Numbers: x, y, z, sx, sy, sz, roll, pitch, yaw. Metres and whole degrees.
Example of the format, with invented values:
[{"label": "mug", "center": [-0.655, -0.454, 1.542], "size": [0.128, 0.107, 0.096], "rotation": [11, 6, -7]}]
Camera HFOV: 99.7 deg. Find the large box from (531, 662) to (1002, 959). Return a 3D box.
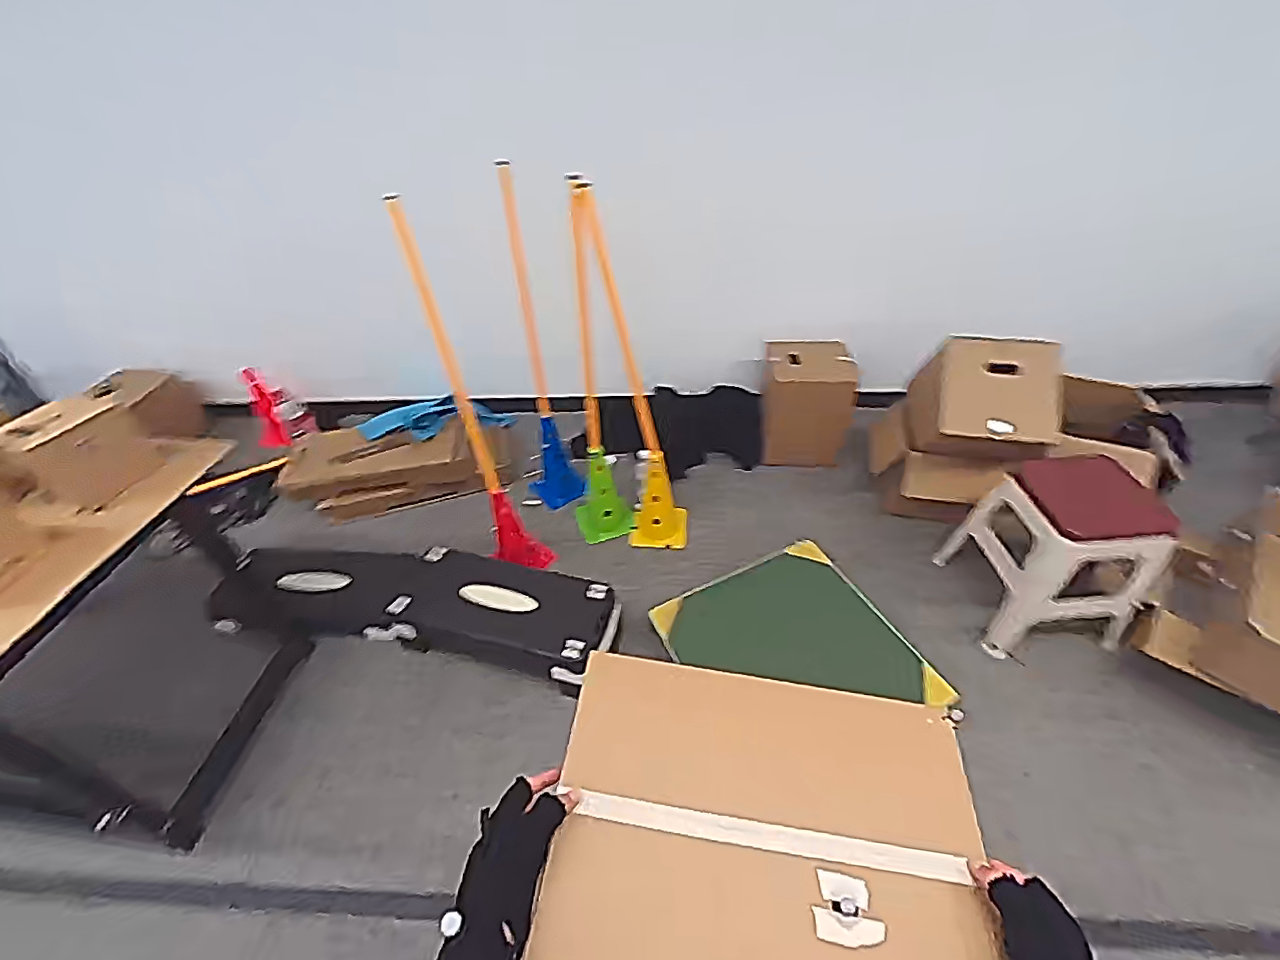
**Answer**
[{"label": "large box", "center": [0.116, 0.451, 0.621], "size": [0.408, 0.320, 0.320], "rotation": [8, 45, 5]}]
